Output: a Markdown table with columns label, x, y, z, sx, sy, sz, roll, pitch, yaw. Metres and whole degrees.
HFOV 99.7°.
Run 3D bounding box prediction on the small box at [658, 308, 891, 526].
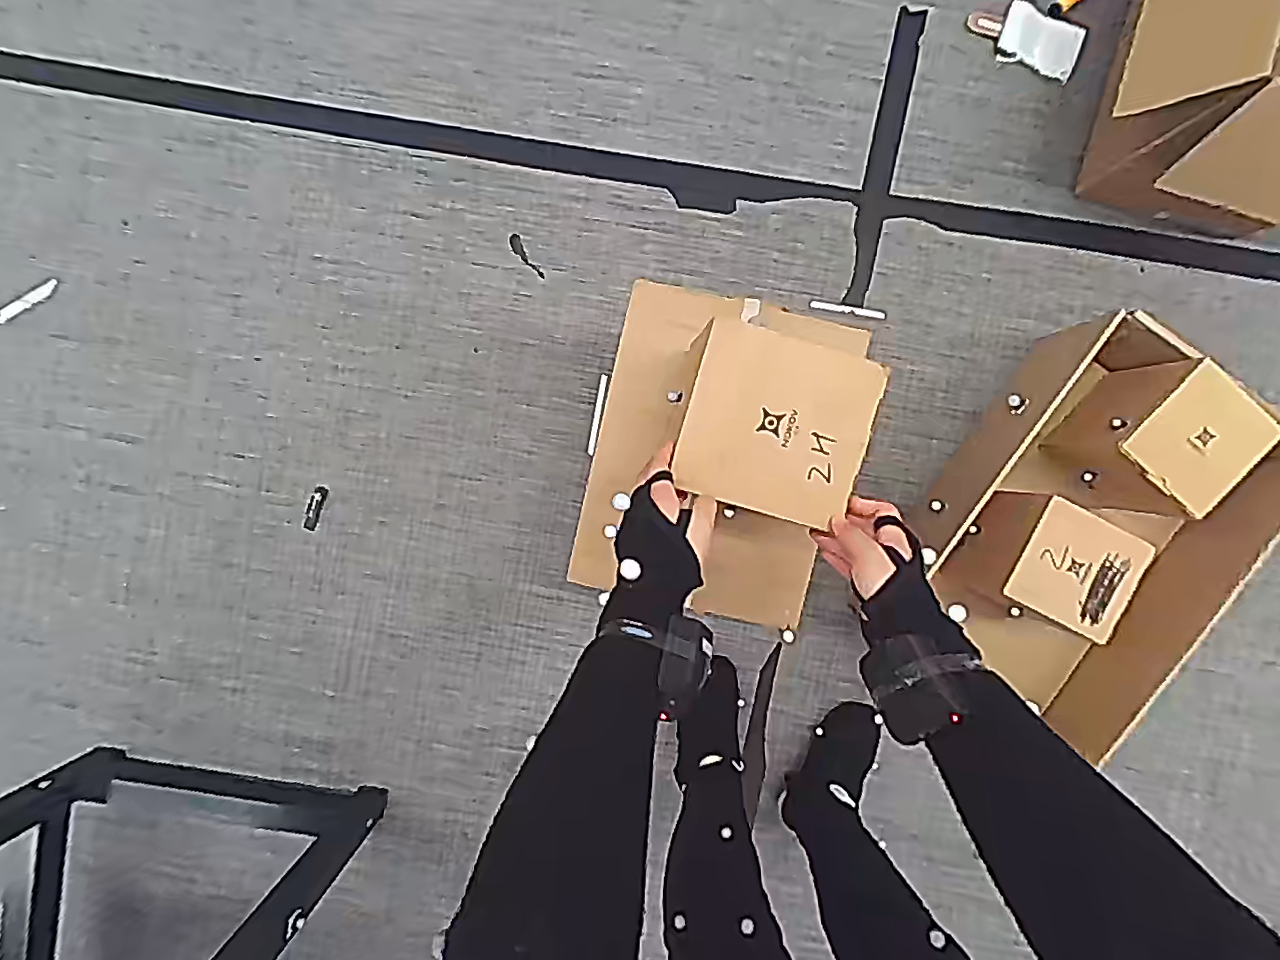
| label | x | y | z | sx | sy | sz | roll | pitch | yaw |
| --- | --- | --- | --- | --- | --- | --- | --- | --- | --- |
| small box | 0.125 | -0.062 | 0.581 | 0.179 | 0.176 | 0.168 | 17 | 94 | -4 |

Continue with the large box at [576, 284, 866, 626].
| label | x | y | z | sx | sy | sz | roll | pitch | yaw |
| --- | --- | --- | --- | --- | --- | --- | --- | --- | --- |
| large box | 0.104 | -0.040 | 0.848 | 0.320 | 0.320 | 0.408 | 12 | 94 | 1 |
